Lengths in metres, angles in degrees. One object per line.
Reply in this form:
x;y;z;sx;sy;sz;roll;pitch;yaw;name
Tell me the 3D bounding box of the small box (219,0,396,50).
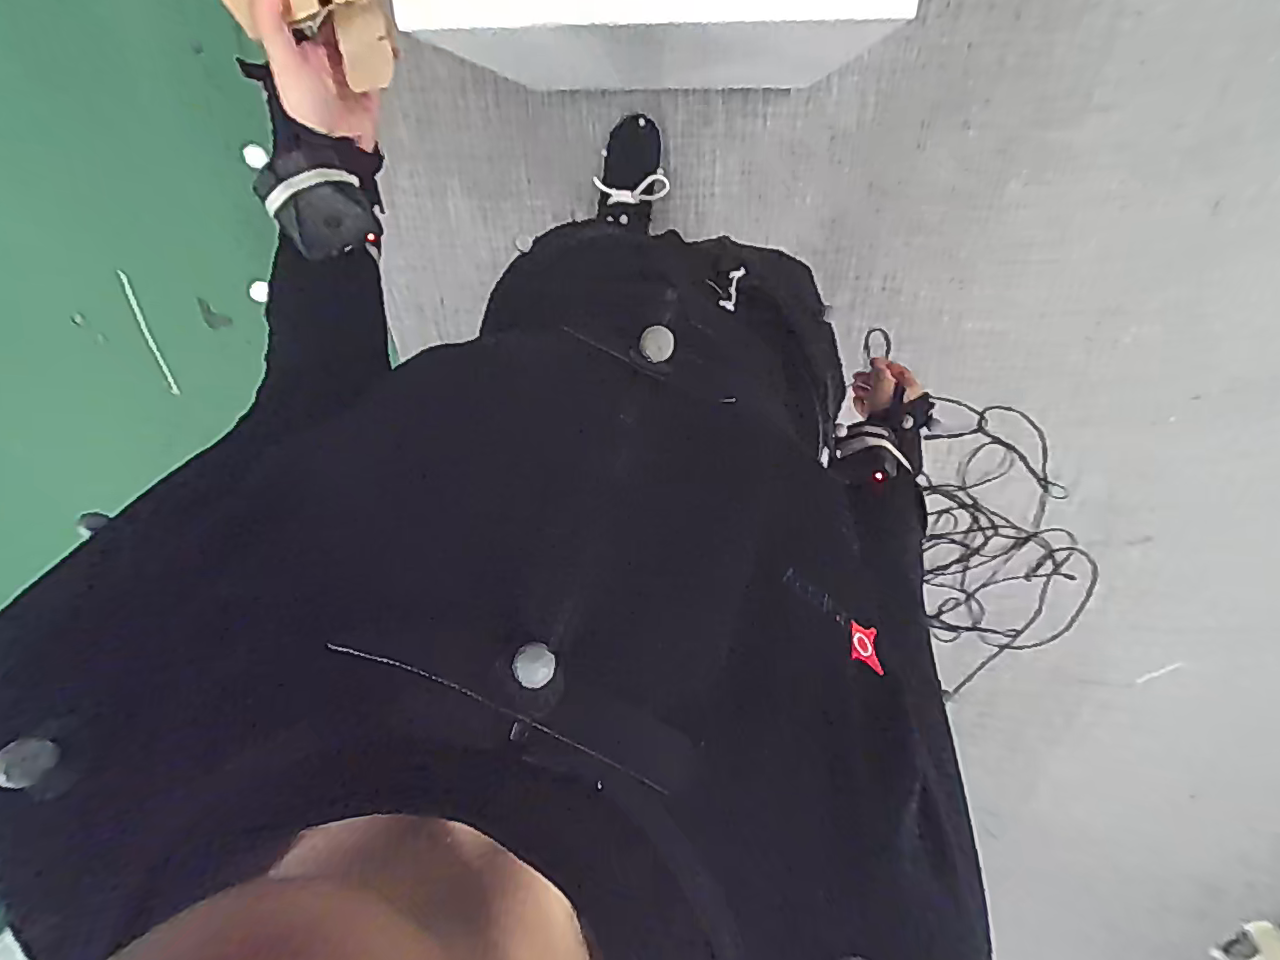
-0.181;-0.395;0.306;0.168;0.176;0.179;7;147;26;small box
